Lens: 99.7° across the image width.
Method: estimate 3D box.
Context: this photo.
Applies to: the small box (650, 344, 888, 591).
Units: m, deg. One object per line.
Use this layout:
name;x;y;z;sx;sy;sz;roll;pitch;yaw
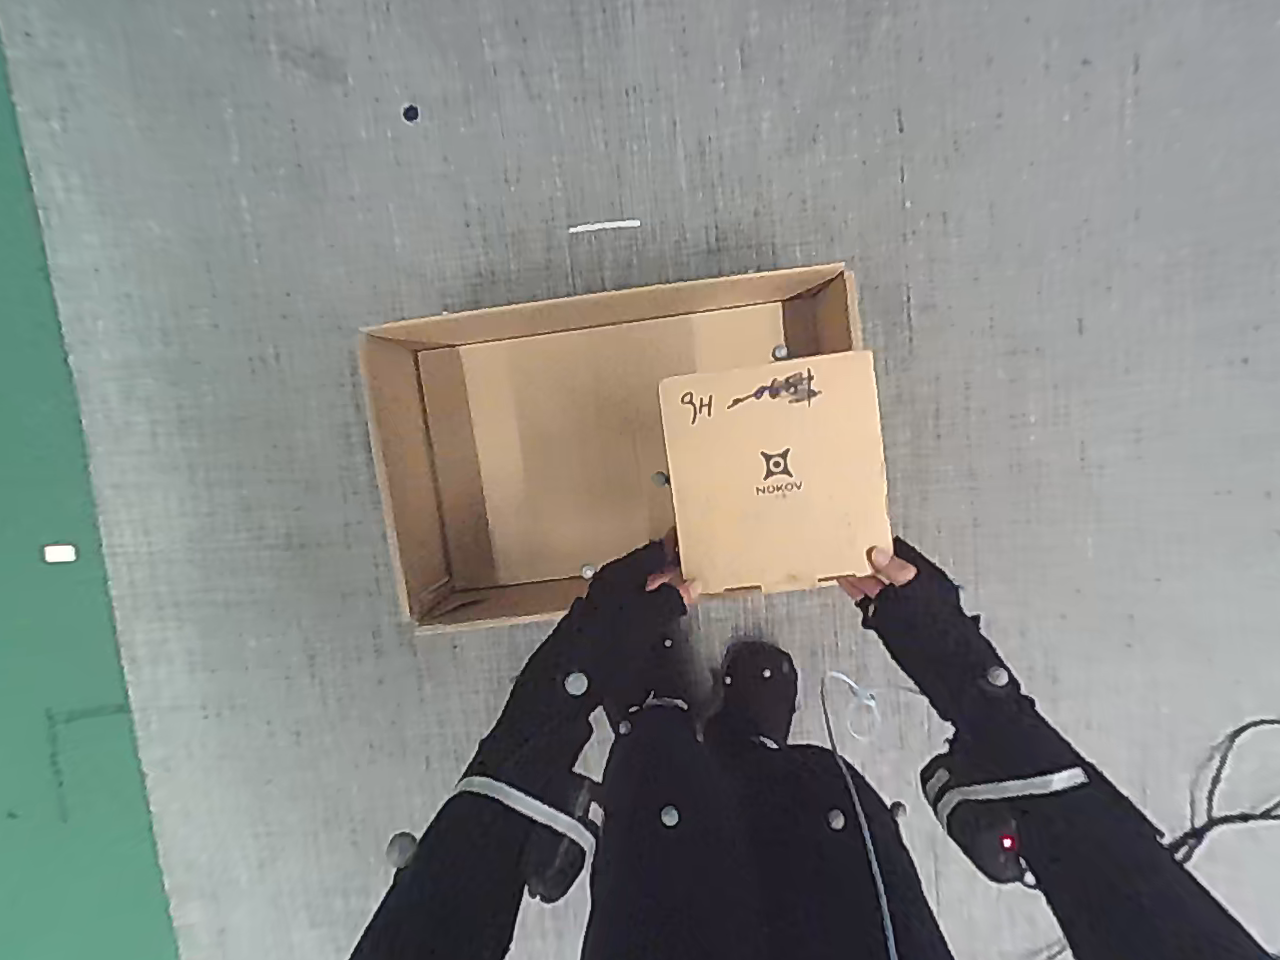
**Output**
small box;0.108;-0.015;0.505;0.168;0.176;0.179;-10;94;4
